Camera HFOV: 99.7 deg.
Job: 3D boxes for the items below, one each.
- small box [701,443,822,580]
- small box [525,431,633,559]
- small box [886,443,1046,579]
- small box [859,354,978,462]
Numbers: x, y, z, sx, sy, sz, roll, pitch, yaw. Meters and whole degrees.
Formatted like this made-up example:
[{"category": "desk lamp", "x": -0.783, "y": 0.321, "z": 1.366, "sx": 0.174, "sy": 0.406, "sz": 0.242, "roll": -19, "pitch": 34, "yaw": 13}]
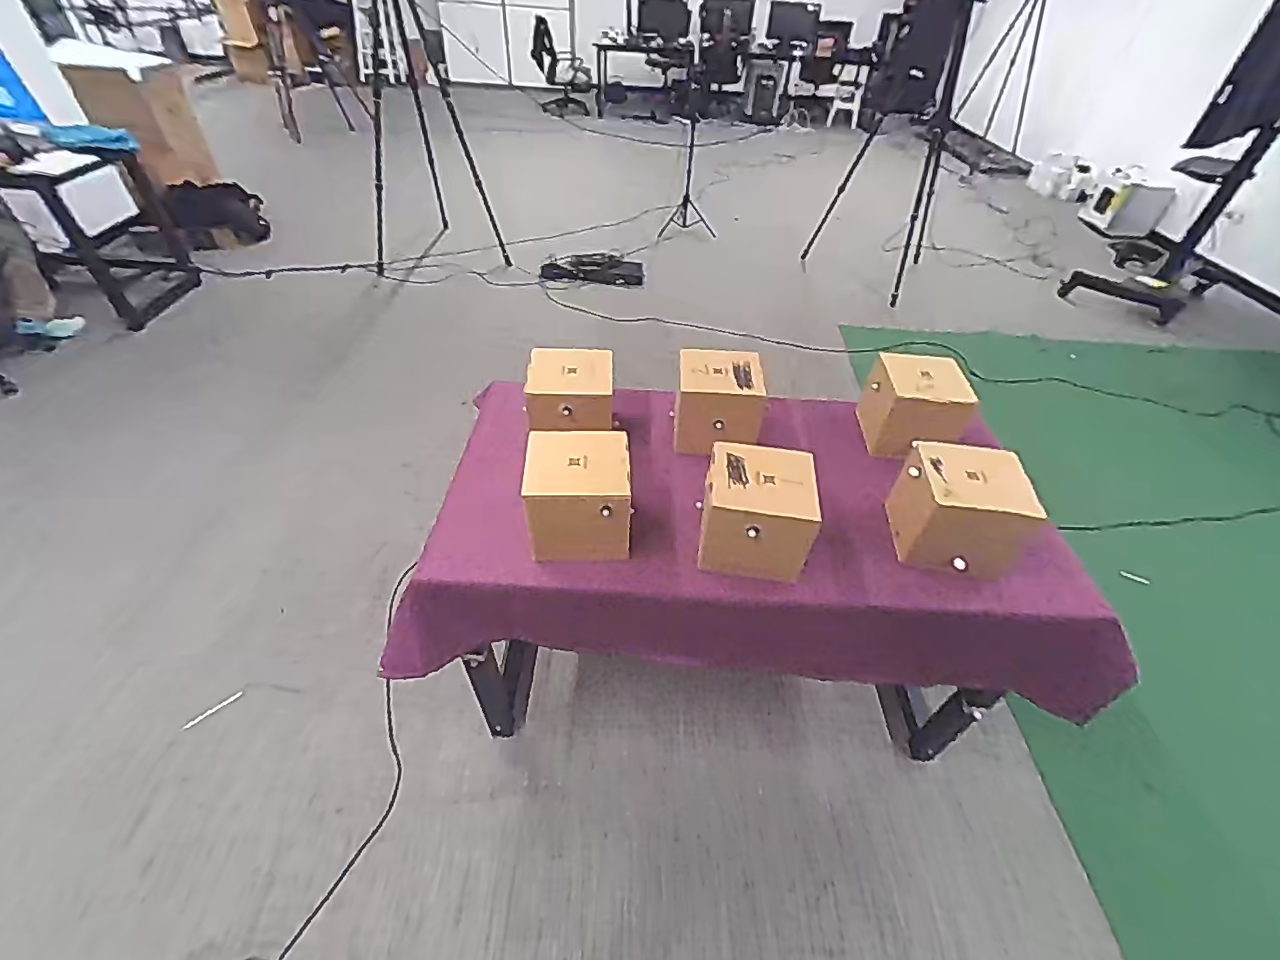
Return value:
[{"category": "small box", "x": 0.207, "y": 0.059, "z": 0.961, "sx": 0.179, "sy": 0.176, "sz": 0.168, "roll": 8, "pitch": 44, "yaw": 4}, {"category": "small box", "x": -0.104, "y": 0.029, "z": 0.972, "sx": 0.179, "sy": 0.176, "sz": 0.168, "roll": 1, "pitch": 44, "yaw": -5}, {"category": "small box", "x": 0.577, "y": 0.059, "z": 0.985, "sx": 0.179, "sy": 0.176, "sz": 0.168, "roll": 9, "pitch": 44, "yaw": 5}, {"category": "small box", "x": 0.608, "y": -0.157, "z": 1.210, "sx": 0.168, "sy": 0.176, "sz": 0.179, "roll": 6, "pitch": 45, "yaw": 3}]
